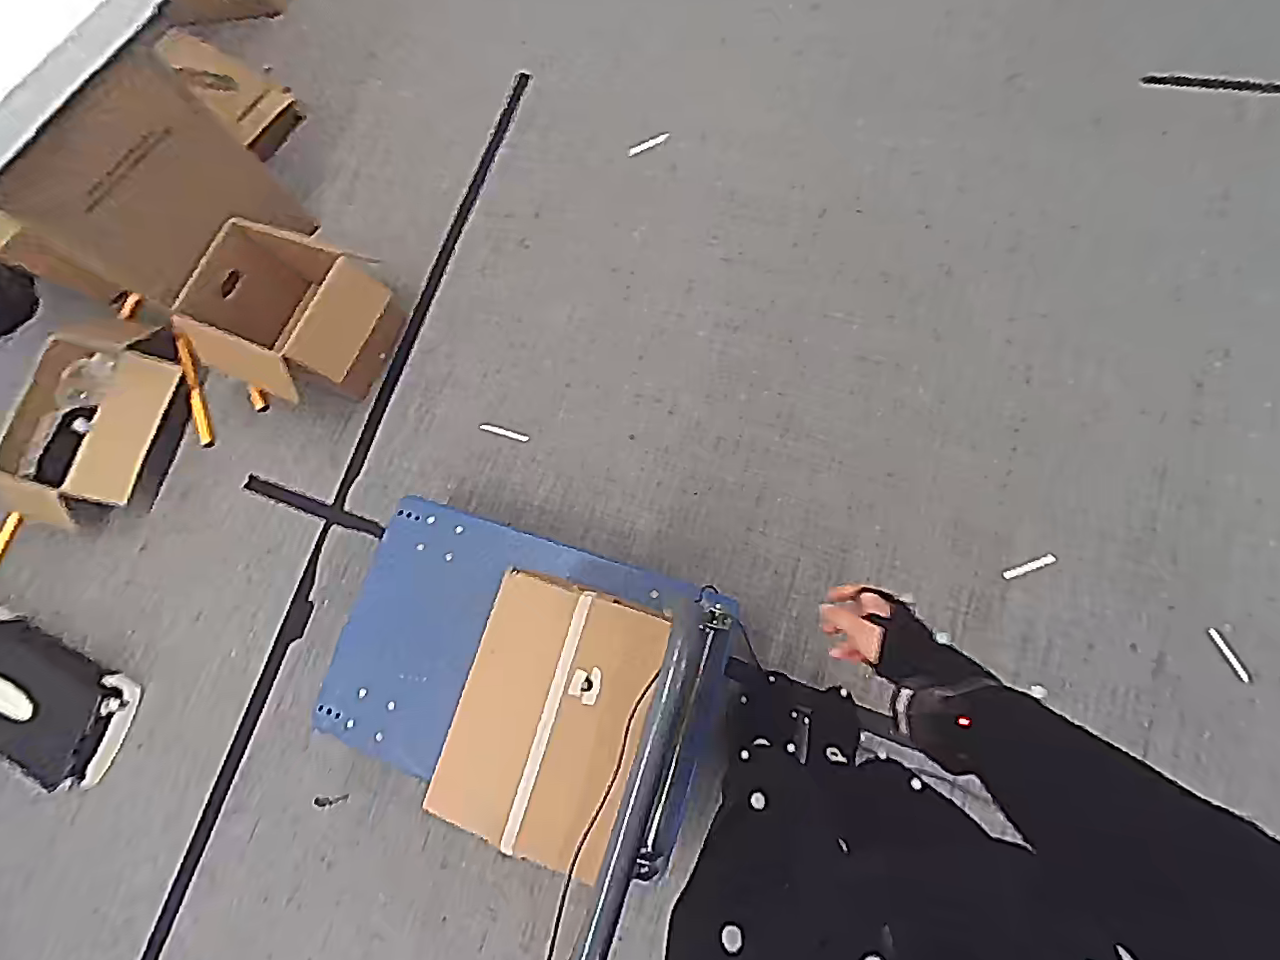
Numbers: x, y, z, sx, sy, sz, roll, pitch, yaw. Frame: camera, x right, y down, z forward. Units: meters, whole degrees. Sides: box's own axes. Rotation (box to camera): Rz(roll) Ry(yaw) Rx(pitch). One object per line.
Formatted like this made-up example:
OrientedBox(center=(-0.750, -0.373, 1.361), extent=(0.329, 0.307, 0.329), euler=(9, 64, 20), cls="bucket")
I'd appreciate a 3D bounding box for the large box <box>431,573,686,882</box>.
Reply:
OrientedBox(center=(-0.121, 0.426, 1.027), extent=(0.320, 0.320, 0.408), euler=(15, 78, 13), cls="large box")
